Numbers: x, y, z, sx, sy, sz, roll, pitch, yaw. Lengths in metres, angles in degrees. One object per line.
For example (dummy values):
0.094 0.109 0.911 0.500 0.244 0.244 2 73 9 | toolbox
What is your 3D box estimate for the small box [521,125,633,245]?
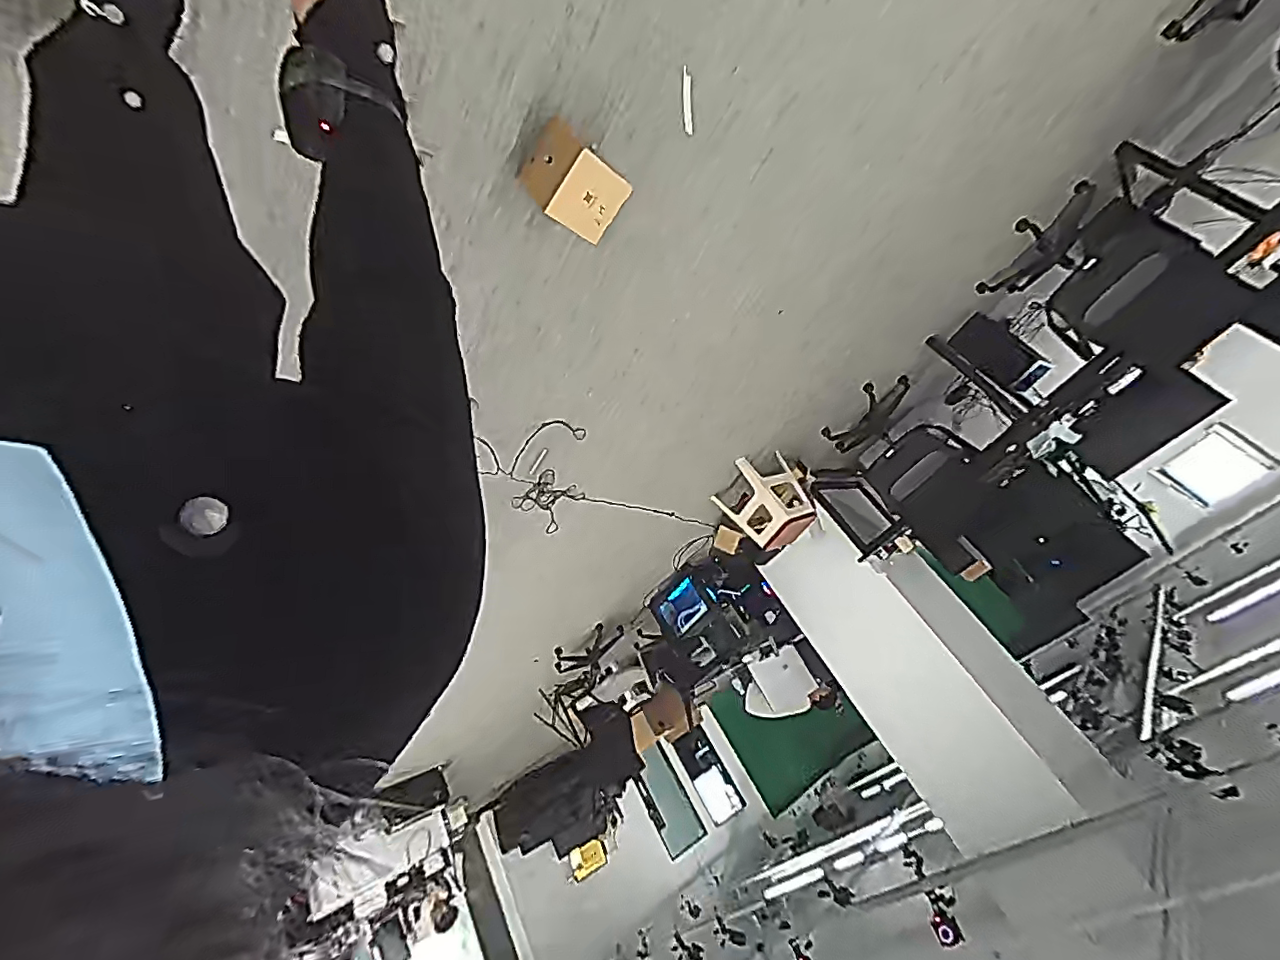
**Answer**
-0.156 -0.715 1.304 0.168 0.176 0.179 -46 150 24 | small box
